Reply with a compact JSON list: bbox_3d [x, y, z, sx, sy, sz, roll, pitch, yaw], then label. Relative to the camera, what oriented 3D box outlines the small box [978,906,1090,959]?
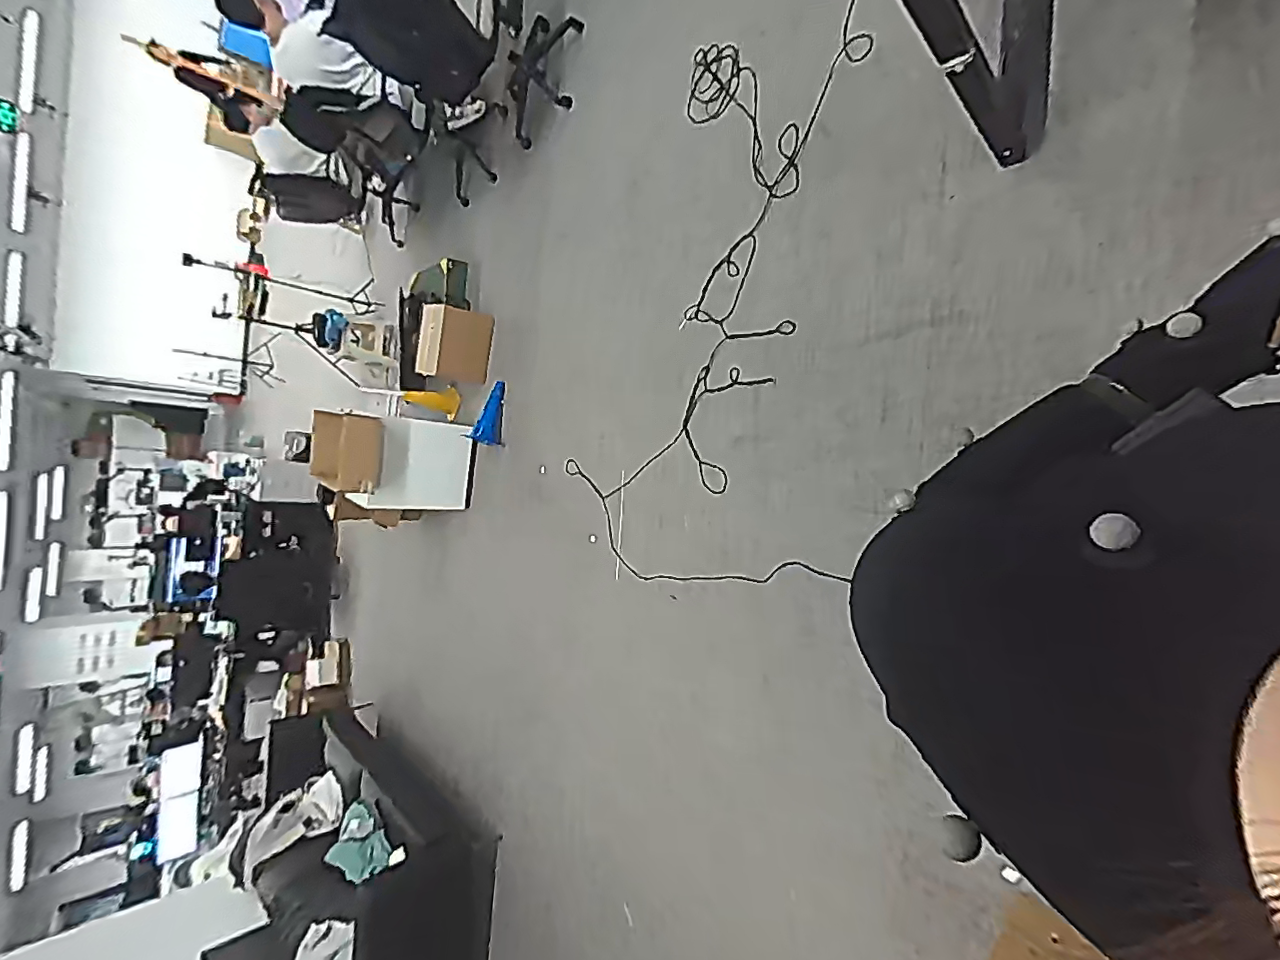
[{"bbox_3d":[0.767,1.007,1.062,0.168,0.176,0.179,17,100,46],"label":"small box"}]
